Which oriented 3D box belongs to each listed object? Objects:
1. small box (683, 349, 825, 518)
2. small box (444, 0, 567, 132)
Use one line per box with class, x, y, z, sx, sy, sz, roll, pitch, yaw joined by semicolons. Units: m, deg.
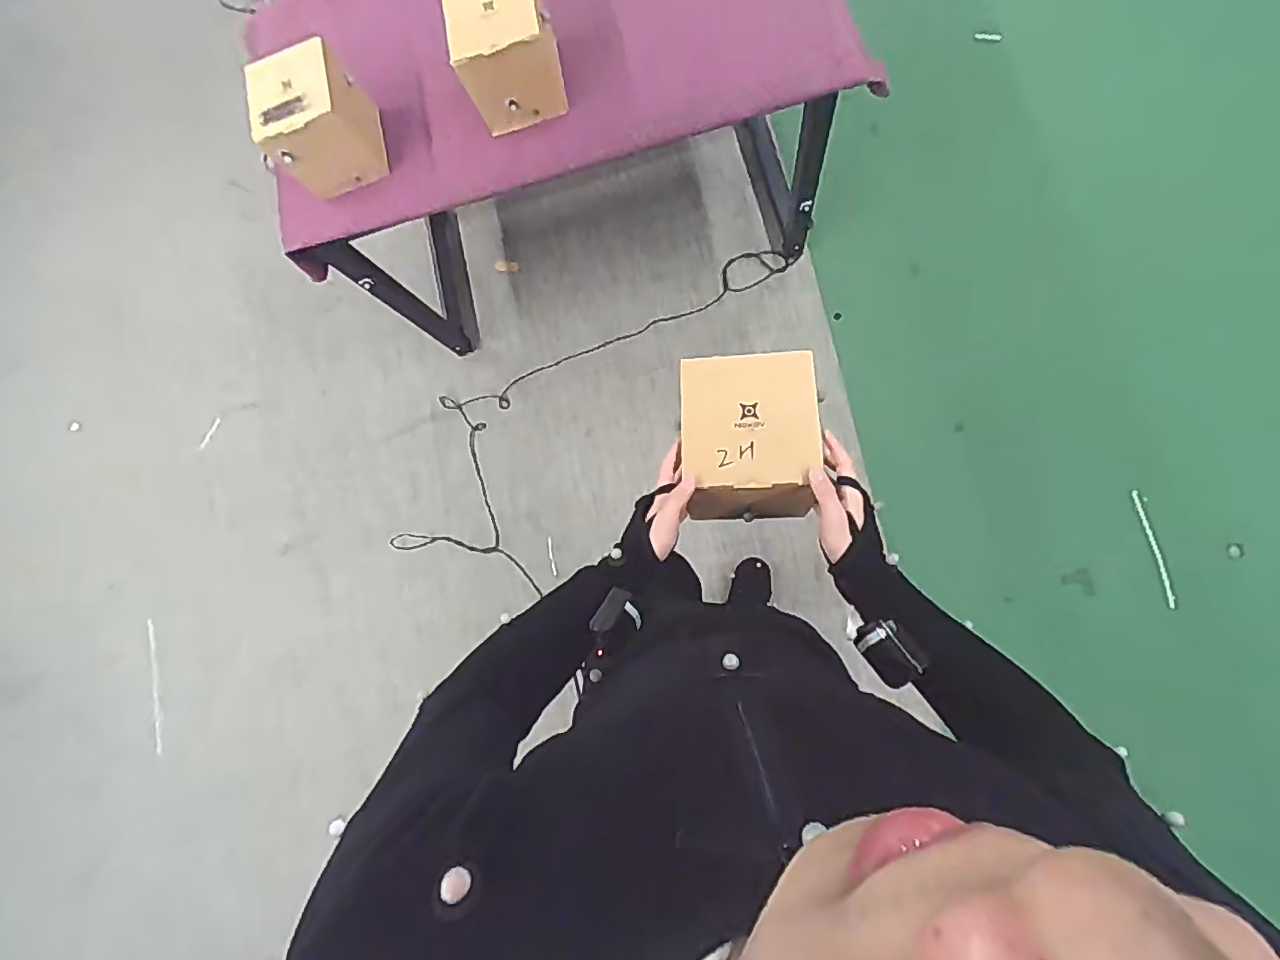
small box;0.145;-0.054;0.727;0.168;0.176;0.179;-2;72;9
small box;-0.247;-0.807;1.013;0.168;0.176;0.179;-12;81;8
